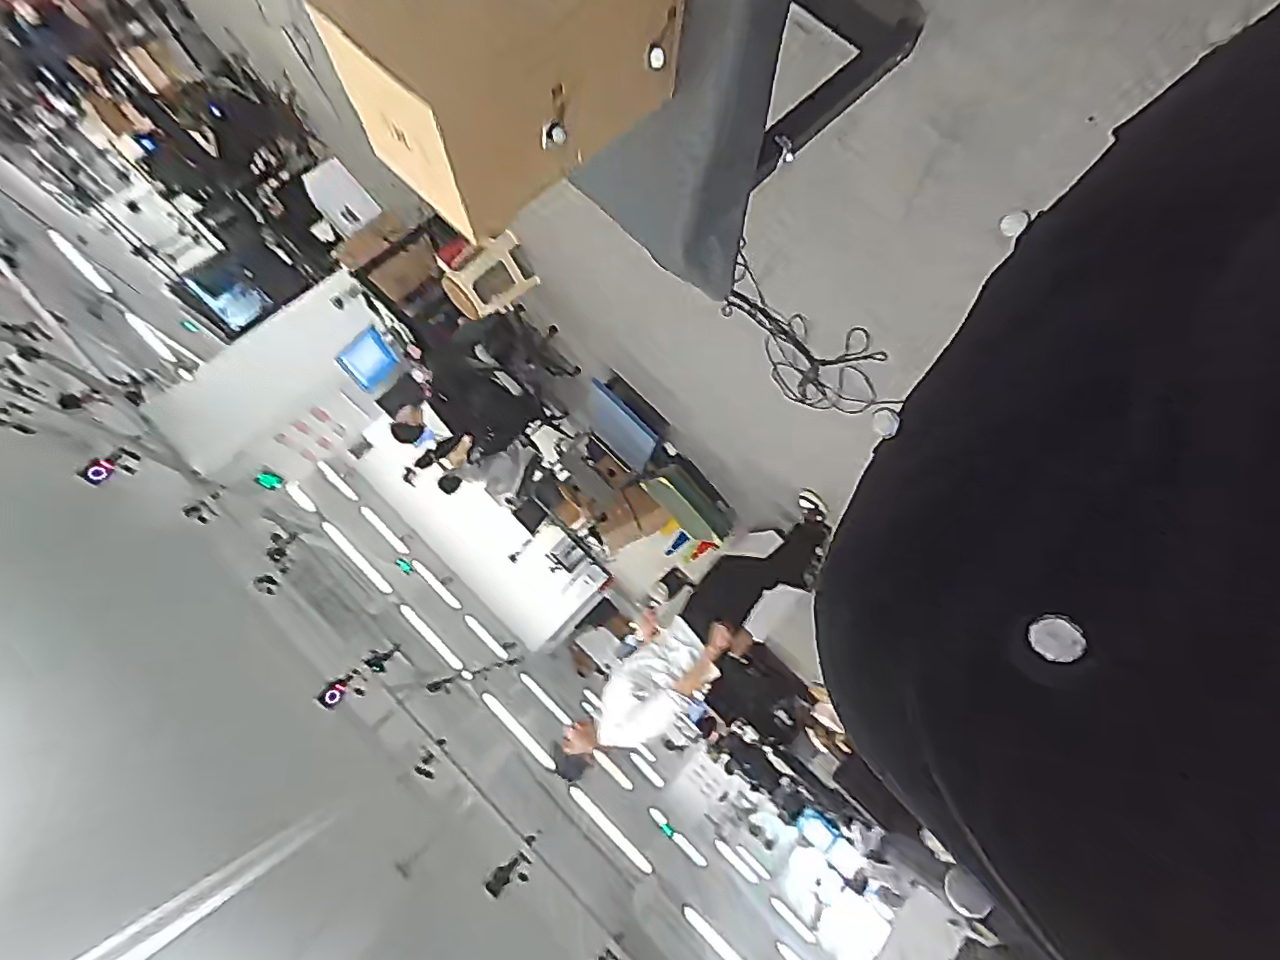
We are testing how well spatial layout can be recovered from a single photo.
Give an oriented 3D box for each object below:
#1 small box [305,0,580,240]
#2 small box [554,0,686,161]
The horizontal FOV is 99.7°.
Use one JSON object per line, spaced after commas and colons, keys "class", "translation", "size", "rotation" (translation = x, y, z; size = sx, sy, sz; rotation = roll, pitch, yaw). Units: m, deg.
{"class": "small box", "translation": [-0.182, -0.399, 0.555], "size": [0.179, 0.176, 0.168], "rotation": [42, 166, 9]}
{"class": "small box", "translation": [-0.071, -0.510, 0.596], "size": [0.179, 0.176, 0.168], "rotation": [42, 165, 9]}
